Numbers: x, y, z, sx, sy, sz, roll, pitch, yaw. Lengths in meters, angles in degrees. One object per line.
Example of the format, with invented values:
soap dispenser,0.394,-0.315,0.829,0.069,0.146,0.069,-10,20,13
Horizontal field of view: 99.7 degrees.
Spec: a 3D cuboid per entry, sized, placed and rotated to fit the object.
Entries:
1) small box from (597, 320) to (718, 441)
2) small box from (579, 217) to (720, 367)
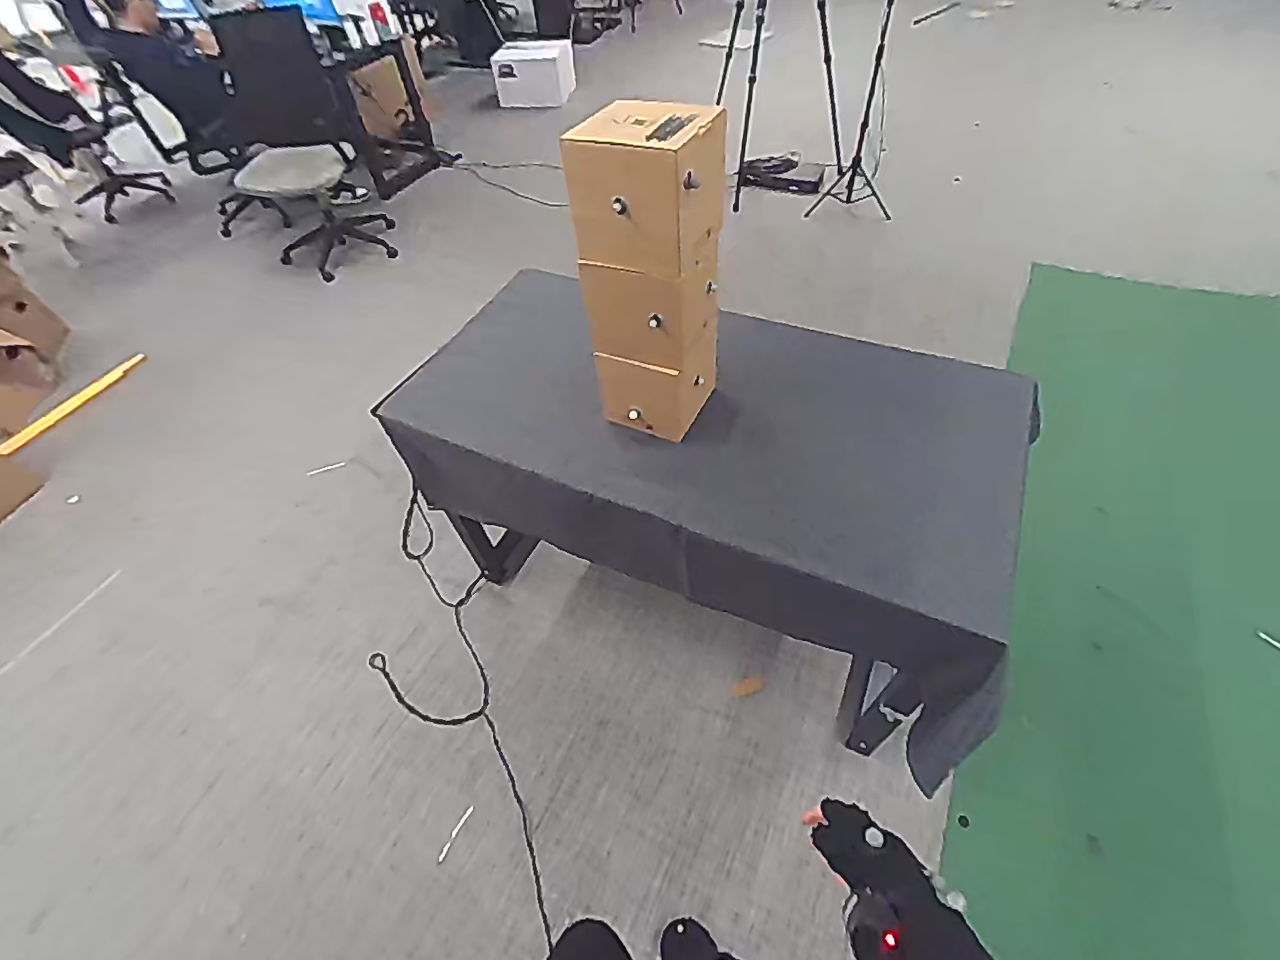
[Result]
small box,0.037,-0.206,1.032,0.168,0.176,0.179,20,55,21
small box,0.023,-0.314,0.911,0.179,0.176,0.168,17,53,19
